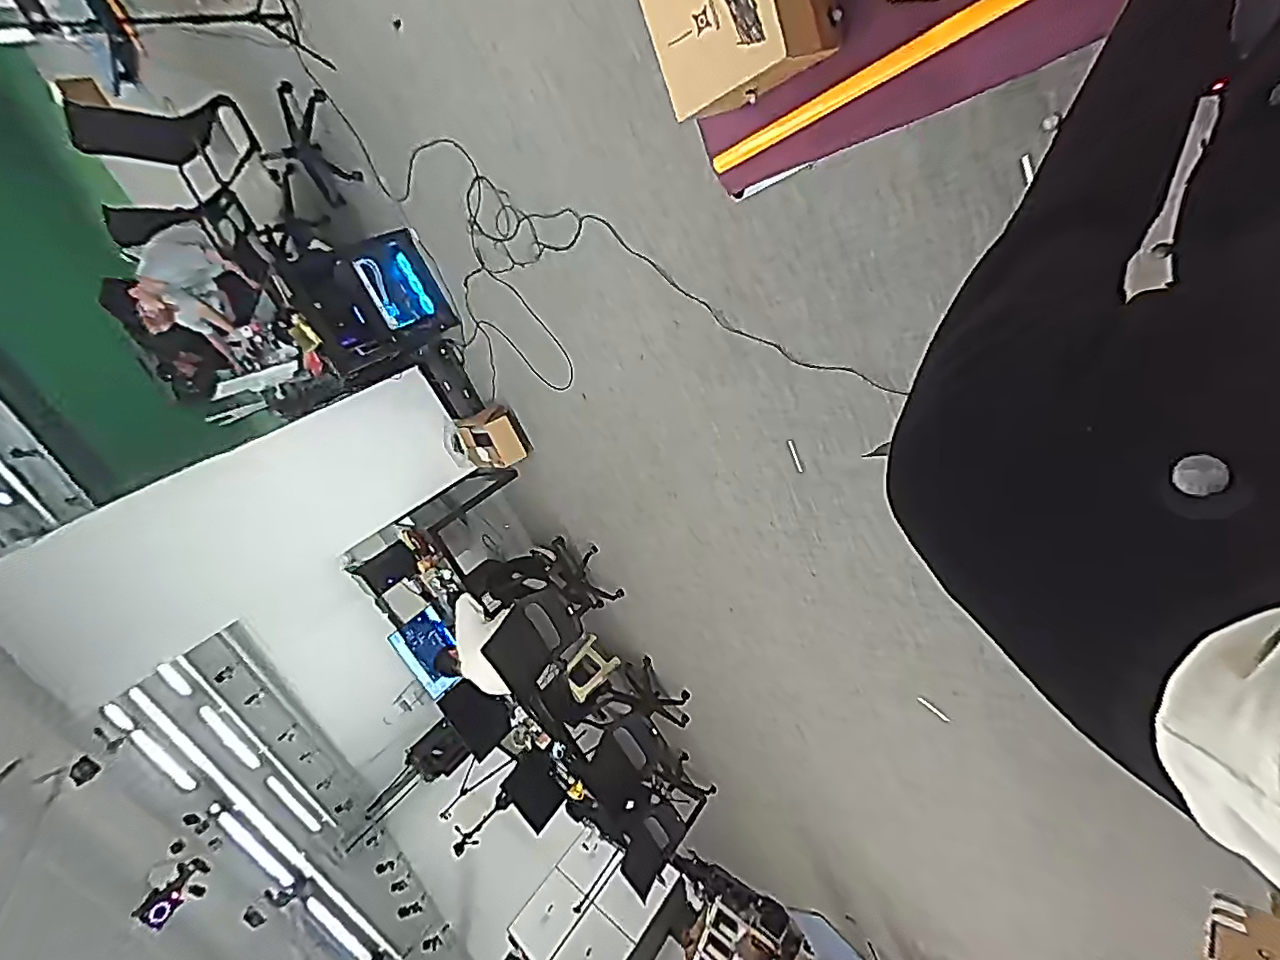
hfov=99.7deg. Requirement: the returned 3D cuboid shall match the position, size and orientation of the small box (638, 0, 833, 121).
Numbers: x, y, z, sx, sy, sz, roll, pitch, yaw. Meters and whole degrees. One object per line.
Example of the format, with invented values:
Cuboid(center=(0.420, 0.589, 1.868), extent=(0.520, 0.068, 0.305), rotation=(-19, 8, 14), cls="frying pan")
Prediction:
Cuboid(center=(0.131, -0.604, 0.700), extent=(0.179, 0.176, 0.168), rotation=(3, 124, 47), cls="small box")
